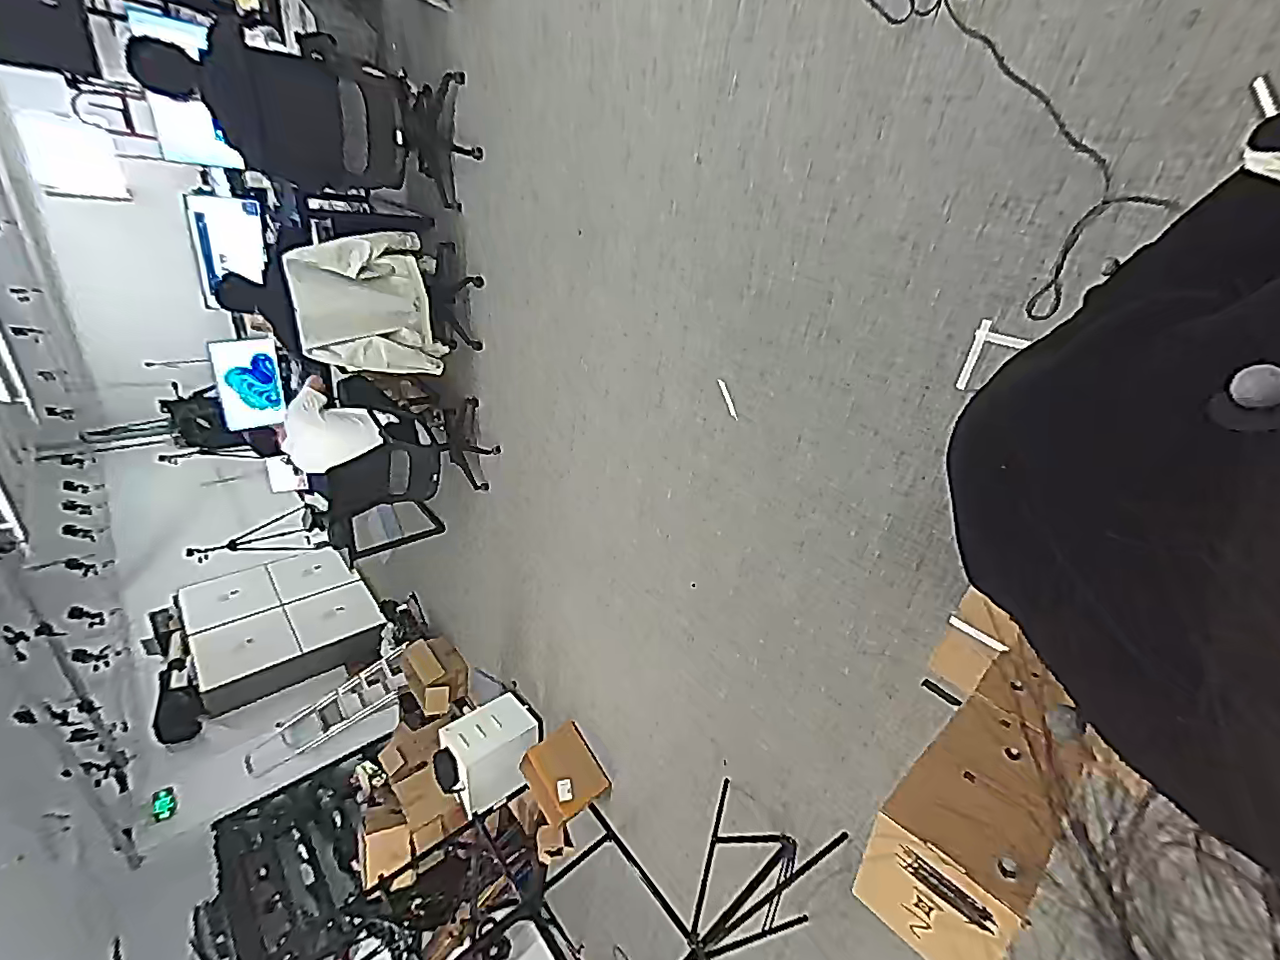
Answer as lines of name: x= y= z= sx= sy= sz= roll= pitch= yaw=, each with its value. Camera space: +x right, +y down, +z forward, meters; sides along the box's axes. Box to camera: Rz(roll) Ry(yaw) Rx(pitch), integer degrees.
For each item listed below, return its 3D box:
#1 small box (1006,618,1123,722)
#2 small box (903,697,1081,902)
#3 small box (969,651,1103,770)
small box: x=0.785 y=0.402 z=1.041 sx=0.168 sy=0.176 sz=0.179 roll=32 pitch=125 yaw=38
small box: x=0.543 y=0.476 z=0.834 sx=0.168 sy=0.176 sz=0.179 roll=27 pitch=123 yaw=43
small box: x=0.663 y=0.433 z=0.939 sx=0.168 sy=0.176 sz=0.179 roll=32 pitch=127 yaw=40
